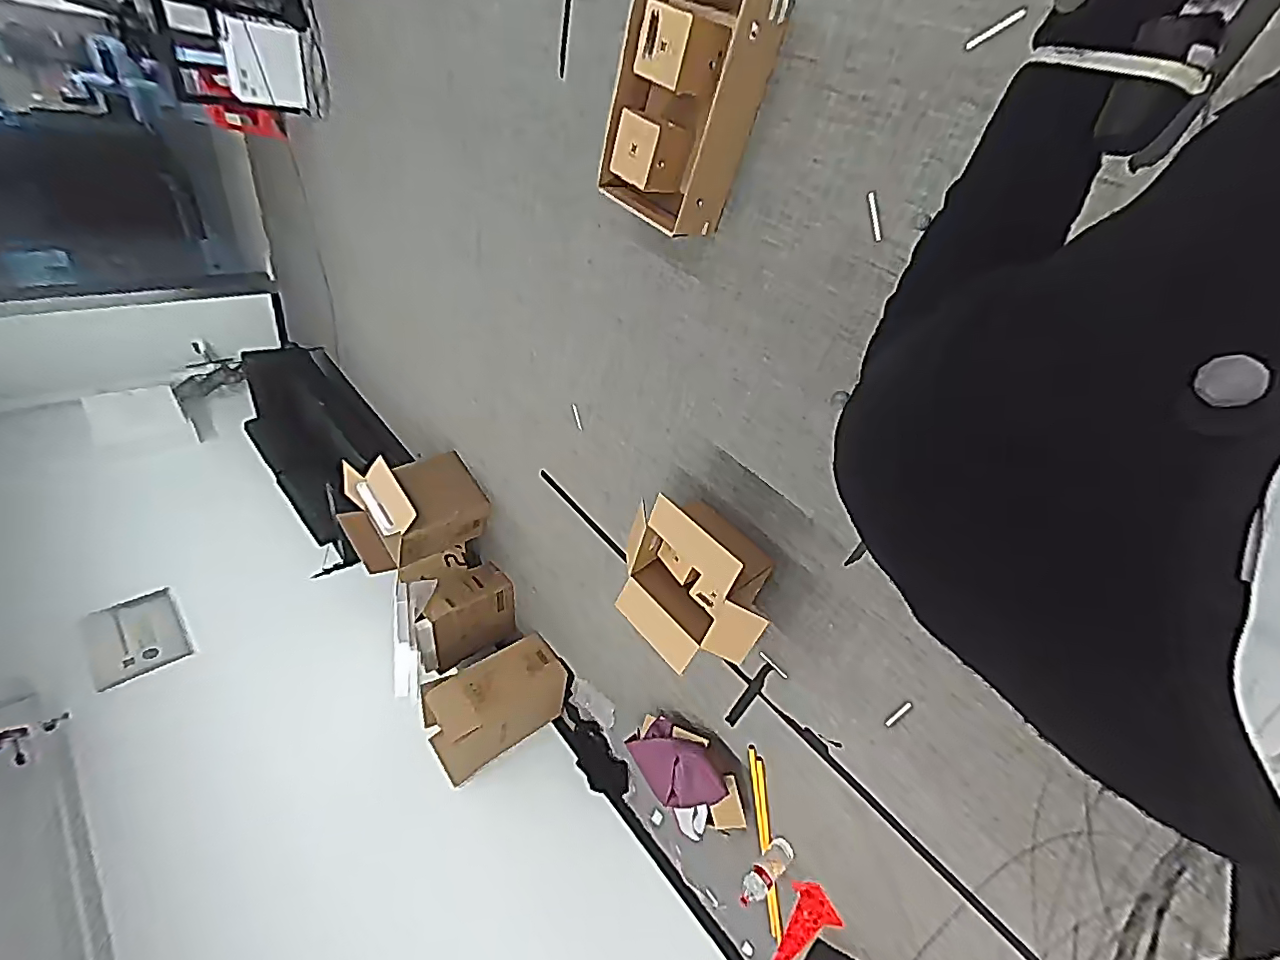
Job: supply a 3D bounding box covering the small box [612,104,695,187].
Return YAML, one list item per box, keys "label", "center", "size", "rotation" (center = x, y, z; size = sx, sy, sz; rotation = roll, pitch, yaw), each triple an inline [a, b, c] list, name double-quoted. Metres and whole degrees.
- label: "small box"
  center: [0.043, -1.029, 1.676]
  size: [0.168, 0.176, 0.179]
  rotation: [43, 135, 23]
